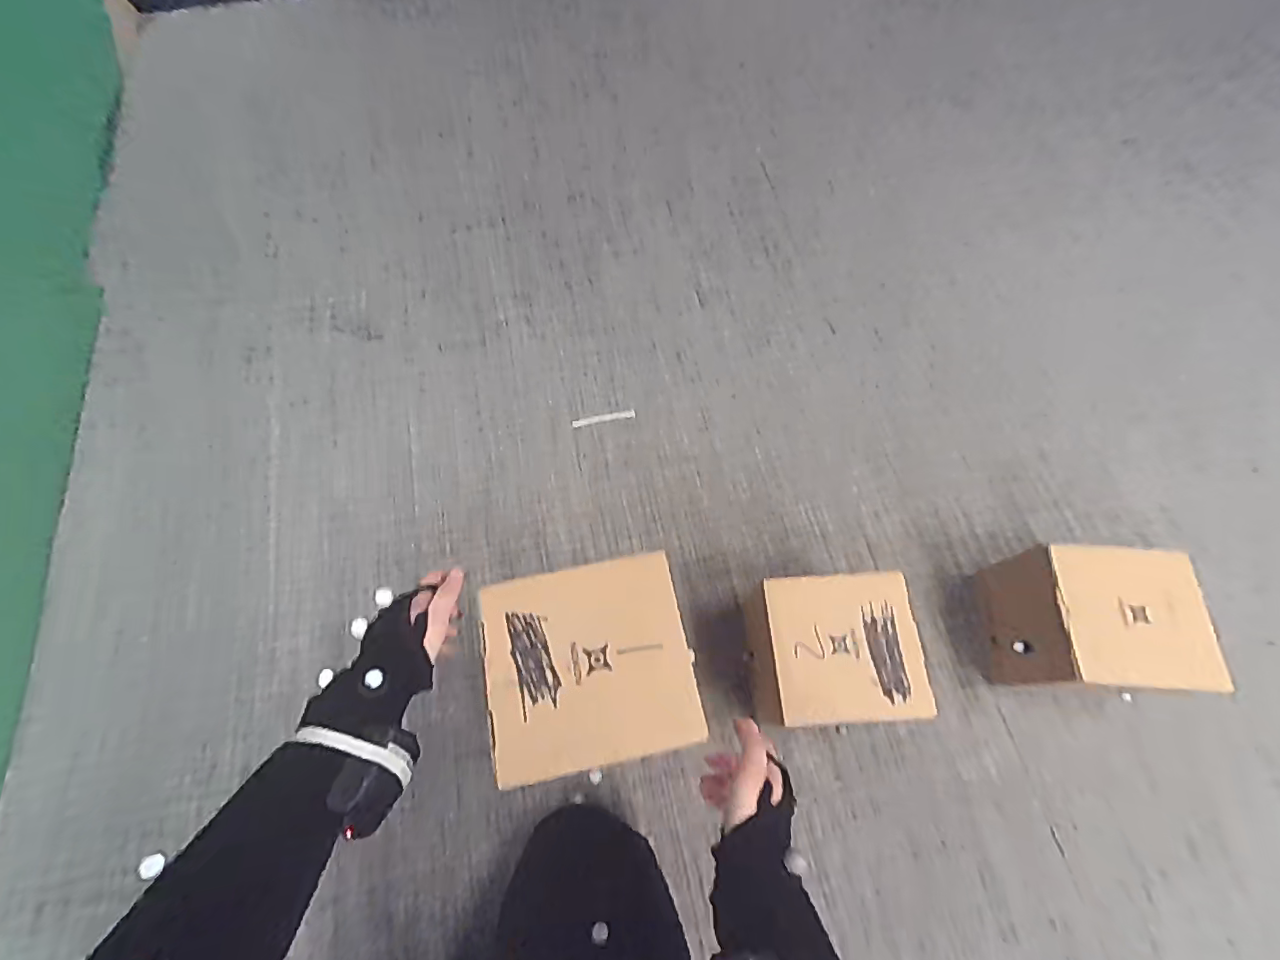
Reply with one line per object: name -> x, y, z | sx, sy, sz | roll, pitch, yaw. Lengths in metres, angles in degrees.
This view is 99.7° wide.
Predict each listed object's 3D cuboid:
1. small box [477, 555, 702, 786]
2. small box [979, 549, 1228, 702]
small box -> -0.049, 0.190, 0.538 | 0.179, 0.176, 0.168 | -10, 67, -6
small box -> 0.583, 0.198, 0.715 | 0.179, 0.176, 0.168 | 4, 67, 1
